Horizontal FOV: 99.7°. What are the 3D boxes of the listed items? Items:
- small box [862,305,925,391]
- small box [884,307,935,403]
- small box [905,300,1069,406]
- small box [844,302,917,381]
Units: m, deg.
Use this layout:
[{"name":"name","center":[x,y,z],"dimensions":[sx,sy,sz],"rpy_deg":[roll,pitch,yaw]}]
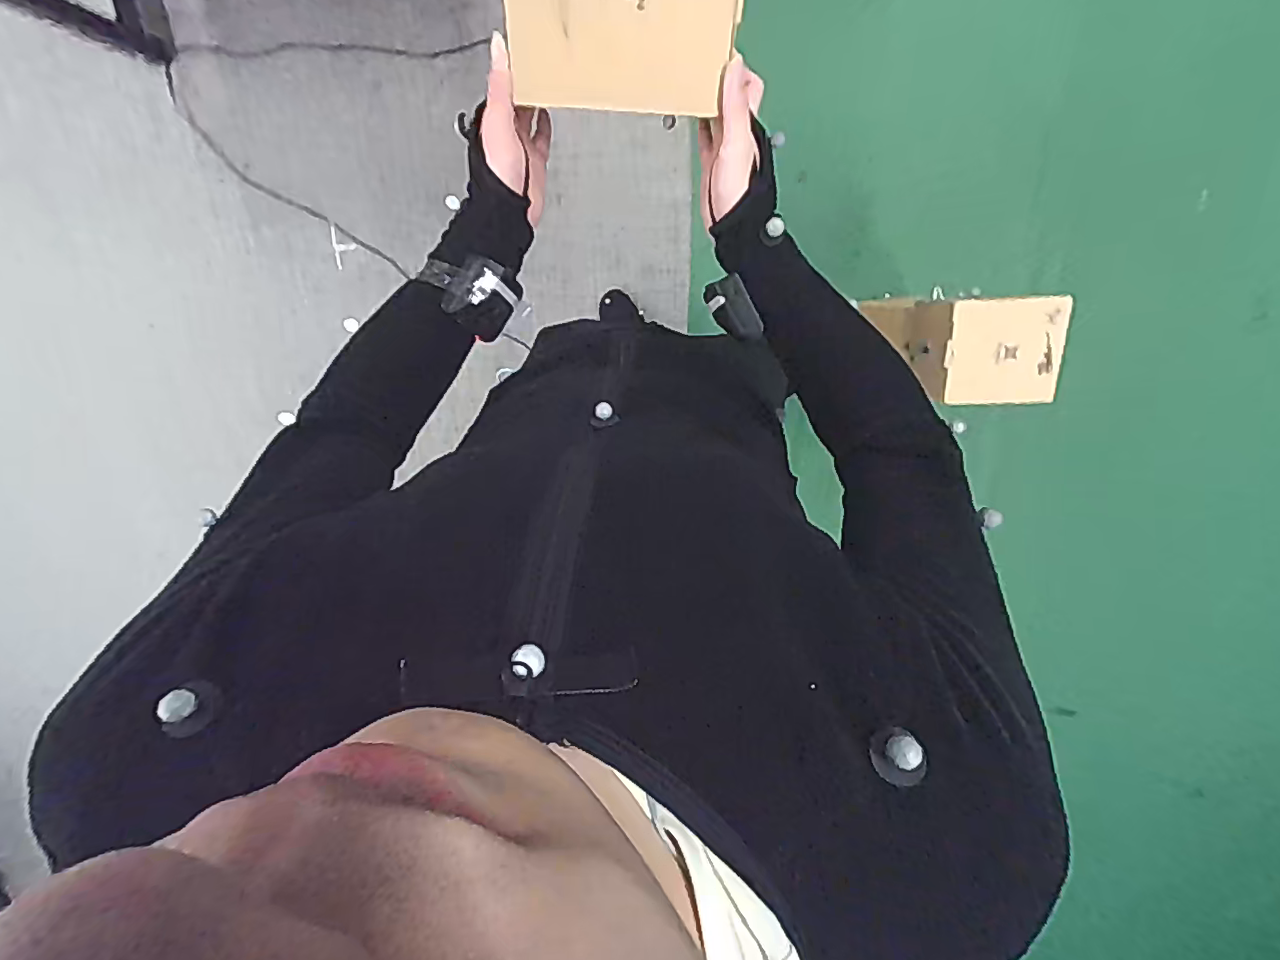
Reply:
[{"name":"small box","center":[0.625,-0.310,1.254],"dimensions":[0.168,0.176,0.179],"rpy_deg":[-1,108,6]},{"name":"small box","center":[0.610,-0.262,1.097],"dimensions":[0.168,0.176,0.179],"rpy_deg":[-3,109,7]},{"name":"small box","center":[0.584,-0.224,0.939],"dimensions":[0.179,0.176,0.168],"rpy_deg":[0,109,6]},{"name":"small box","center":[0.639,-0.363,1.406],"dimensions":[0.168,0.176,0.179],"rpy_deg":[-3,109,6]}]
